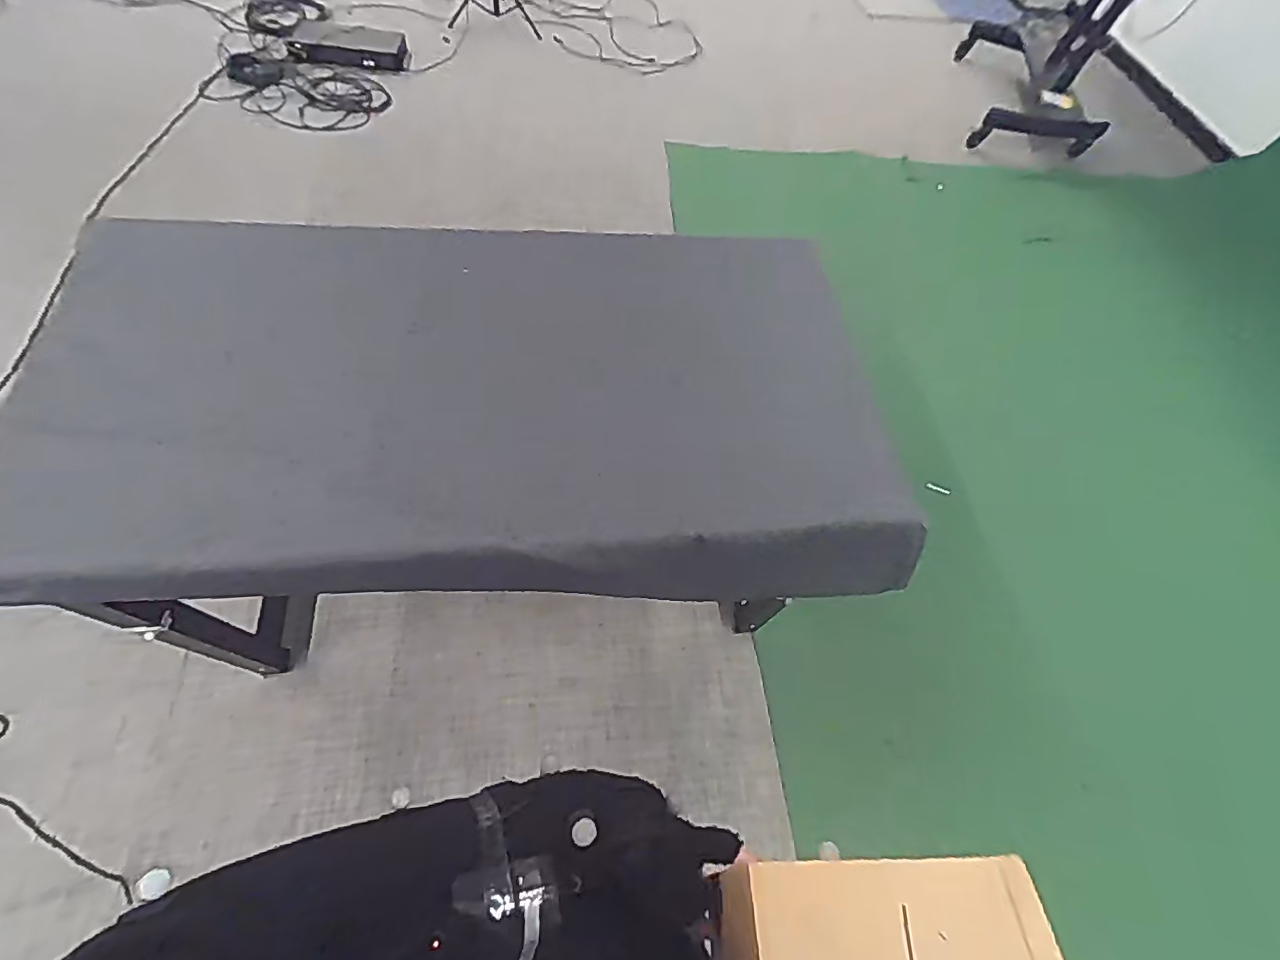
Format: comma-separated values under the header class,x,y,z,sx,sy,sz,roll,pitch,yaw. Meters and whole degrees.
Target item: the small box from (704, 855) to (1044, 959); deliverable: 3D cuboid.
class,x,y,z,sx,sy,sz,roll,pitch,yaw
small box,0.135,0.342,0.331,0.168,0.176,0.179,2,51,-2
